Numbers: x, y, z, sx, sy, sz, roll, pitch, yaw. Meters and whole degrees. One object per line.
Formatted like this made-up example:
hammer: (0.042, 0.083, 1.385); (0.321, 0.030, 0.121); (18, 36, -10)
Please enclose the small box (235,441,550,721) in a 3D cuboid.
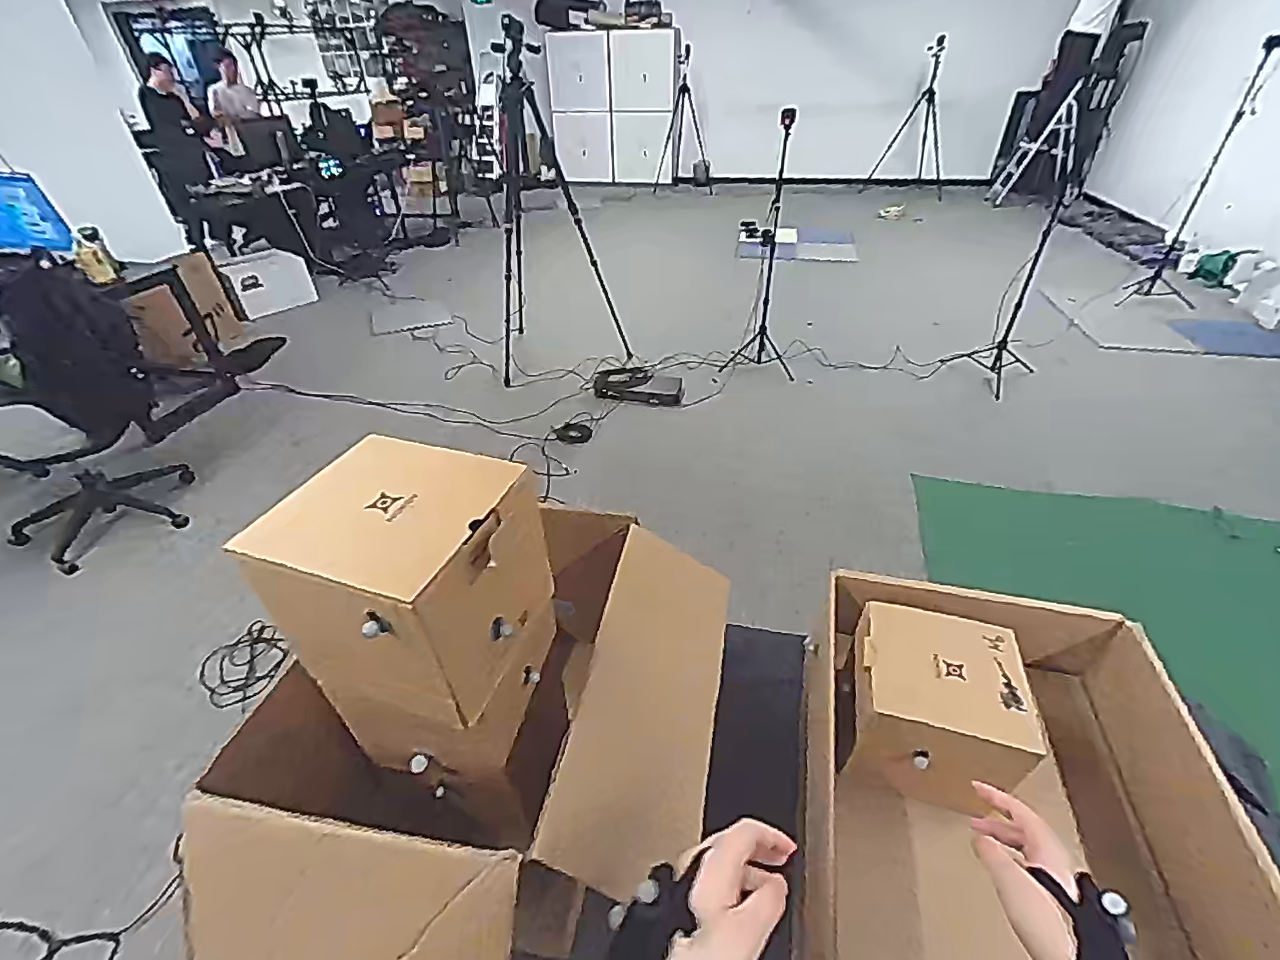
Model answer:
small box: (-0.200, 0.088, 0.492); (0.179, 0.176, 0.168); (11, 40, 15)
